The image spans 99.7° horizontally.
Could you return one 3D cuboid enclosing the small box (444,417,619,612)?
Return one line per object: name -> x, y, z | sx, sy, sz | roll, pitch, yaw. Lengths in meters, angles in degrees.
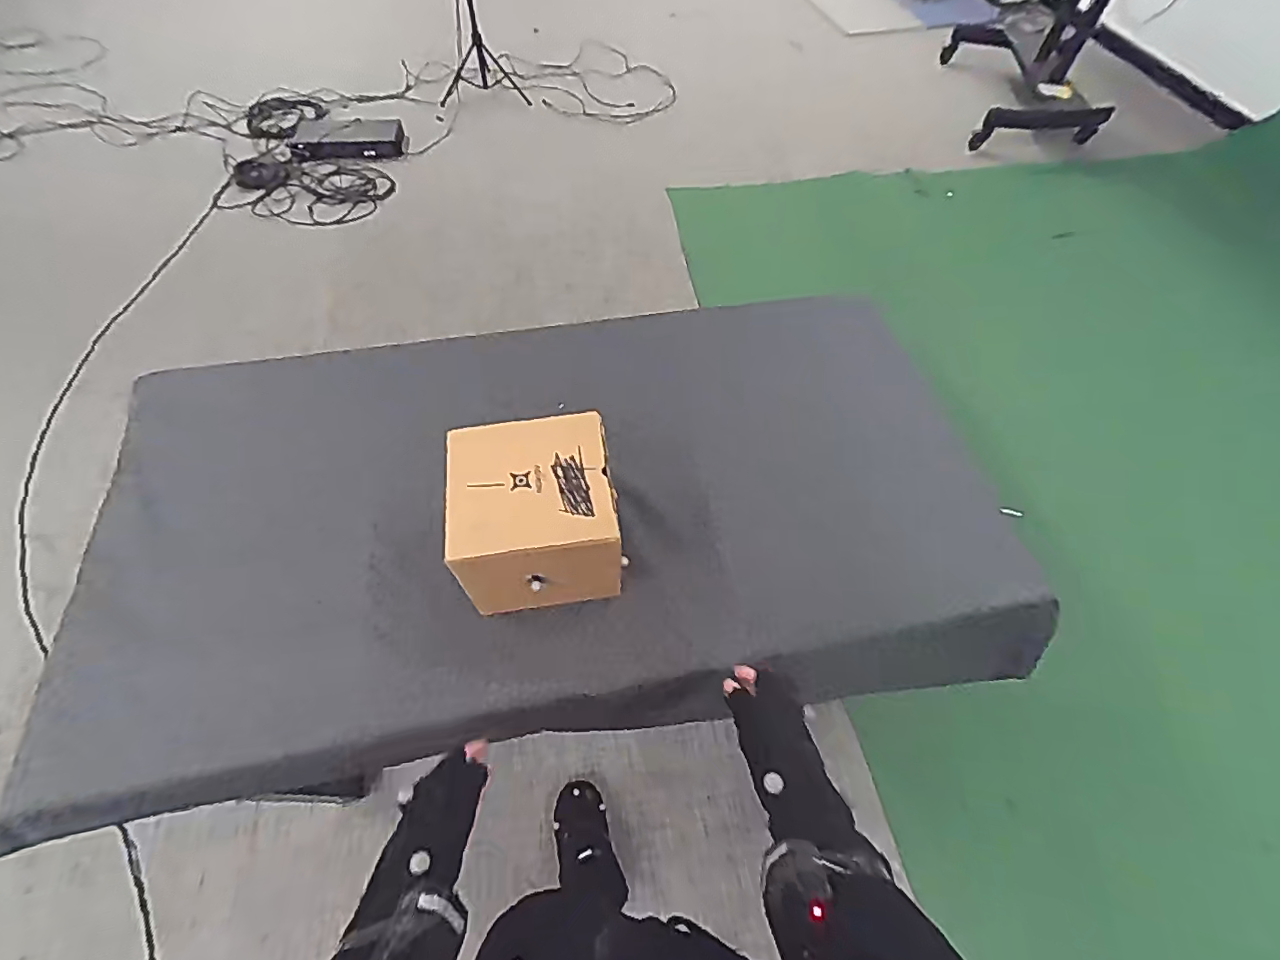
small box -> -0.122, 0.046, 0.648 | 0.179, 0.176, 0.168 | -7, 58, -6
